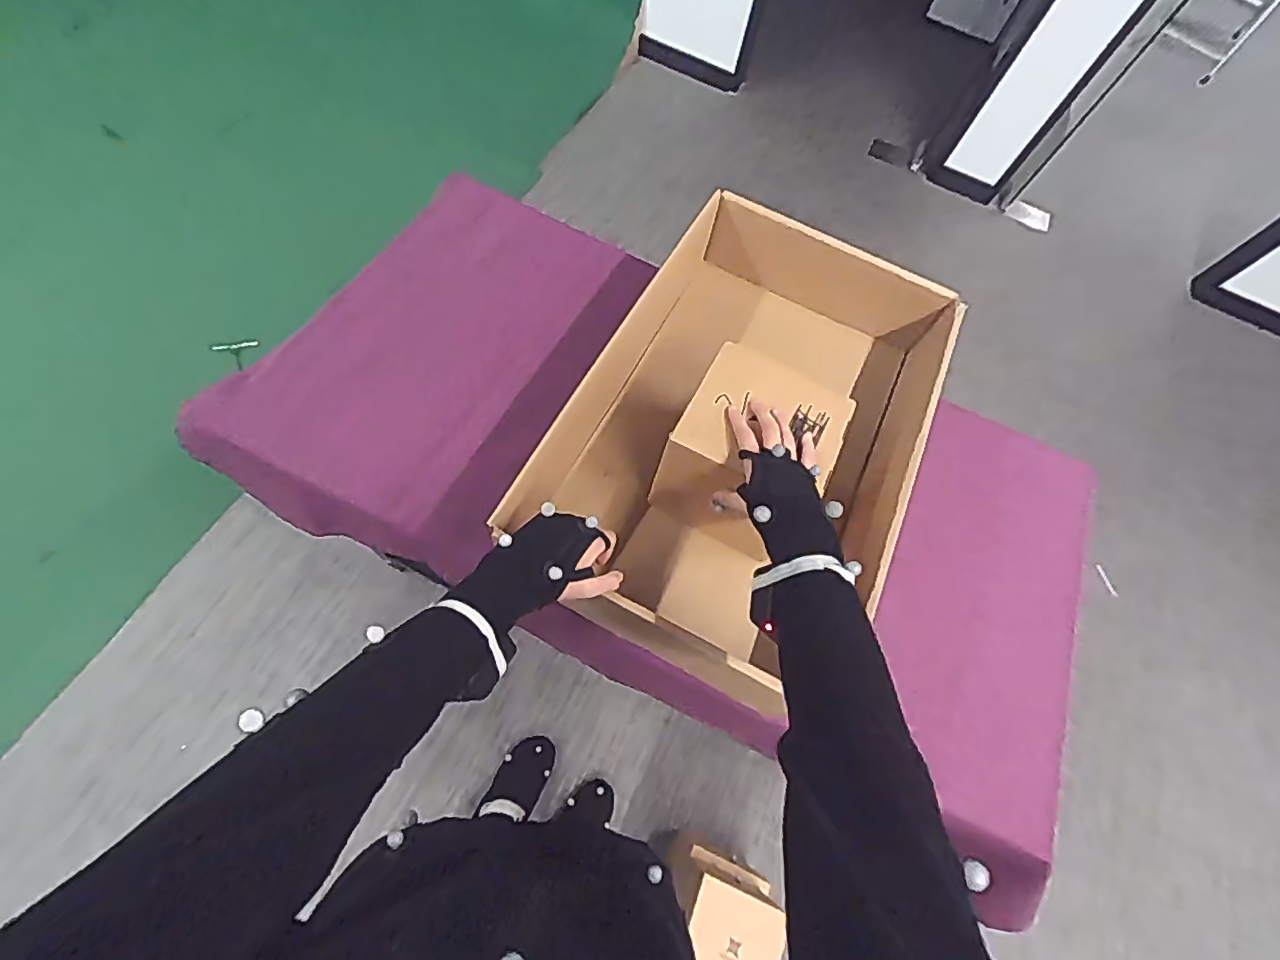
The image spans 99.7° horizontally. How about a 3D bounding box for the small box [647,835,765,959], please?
[{"bbox_3d":[0.132,0.881,1.136,0.179,0.176,0.168,25,65,4],"label":"small box"}]
